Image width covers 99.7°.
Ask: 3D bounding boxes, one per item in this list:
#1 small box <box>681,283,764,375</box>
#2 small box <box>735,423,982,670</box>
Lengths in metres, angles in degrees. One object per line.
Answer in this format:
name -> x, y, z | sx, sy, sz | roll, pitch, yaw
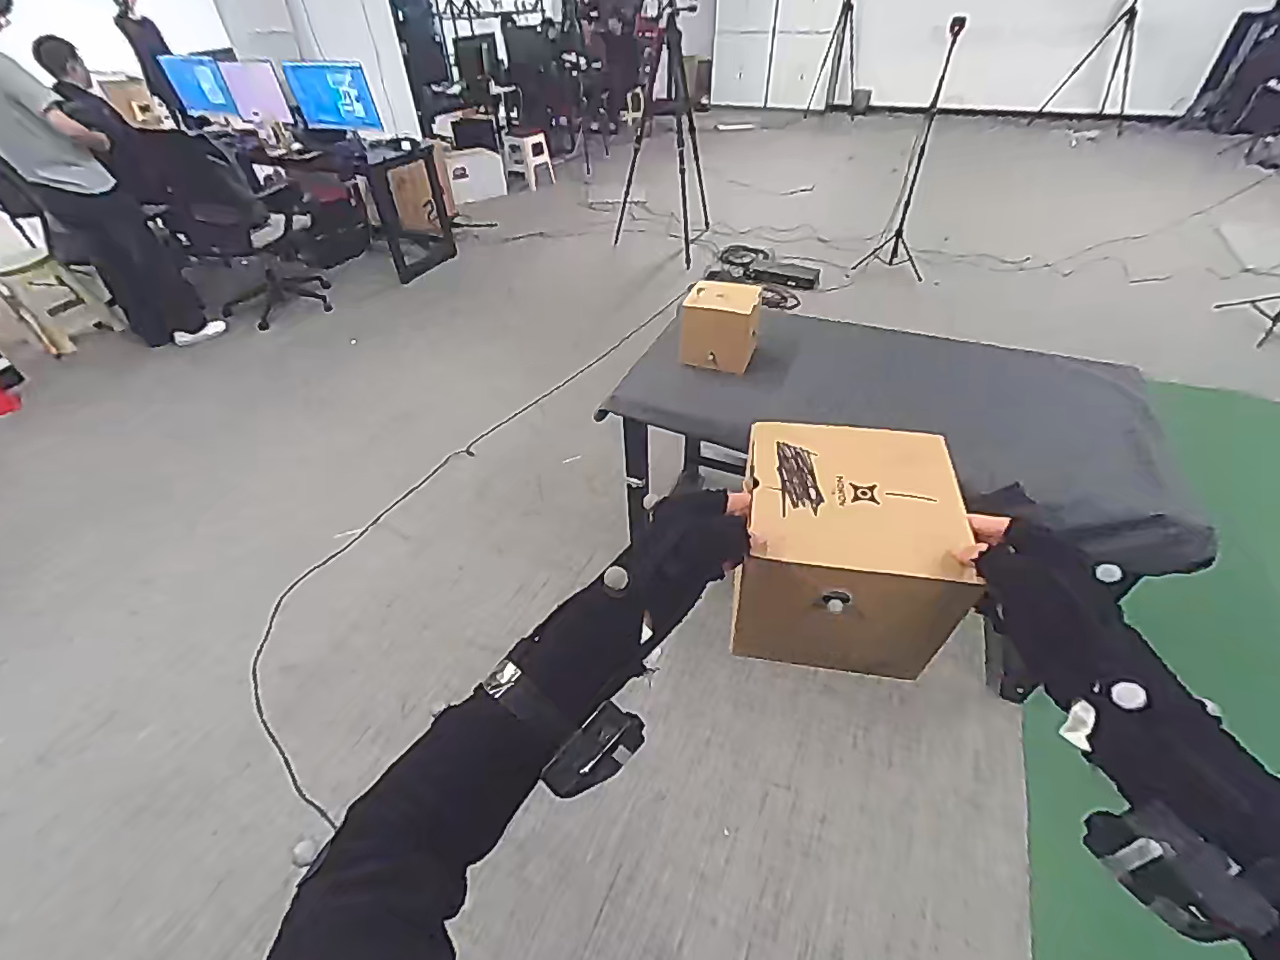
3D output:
small box -> 0.216, -0.399, 1.437 | 0.179, 0.176, 0.168 | 14, 44, 16
small box -> 0.188, 0.065, 0.525 | 0.179, 0.176, 0.168 | 6, 47, 8
